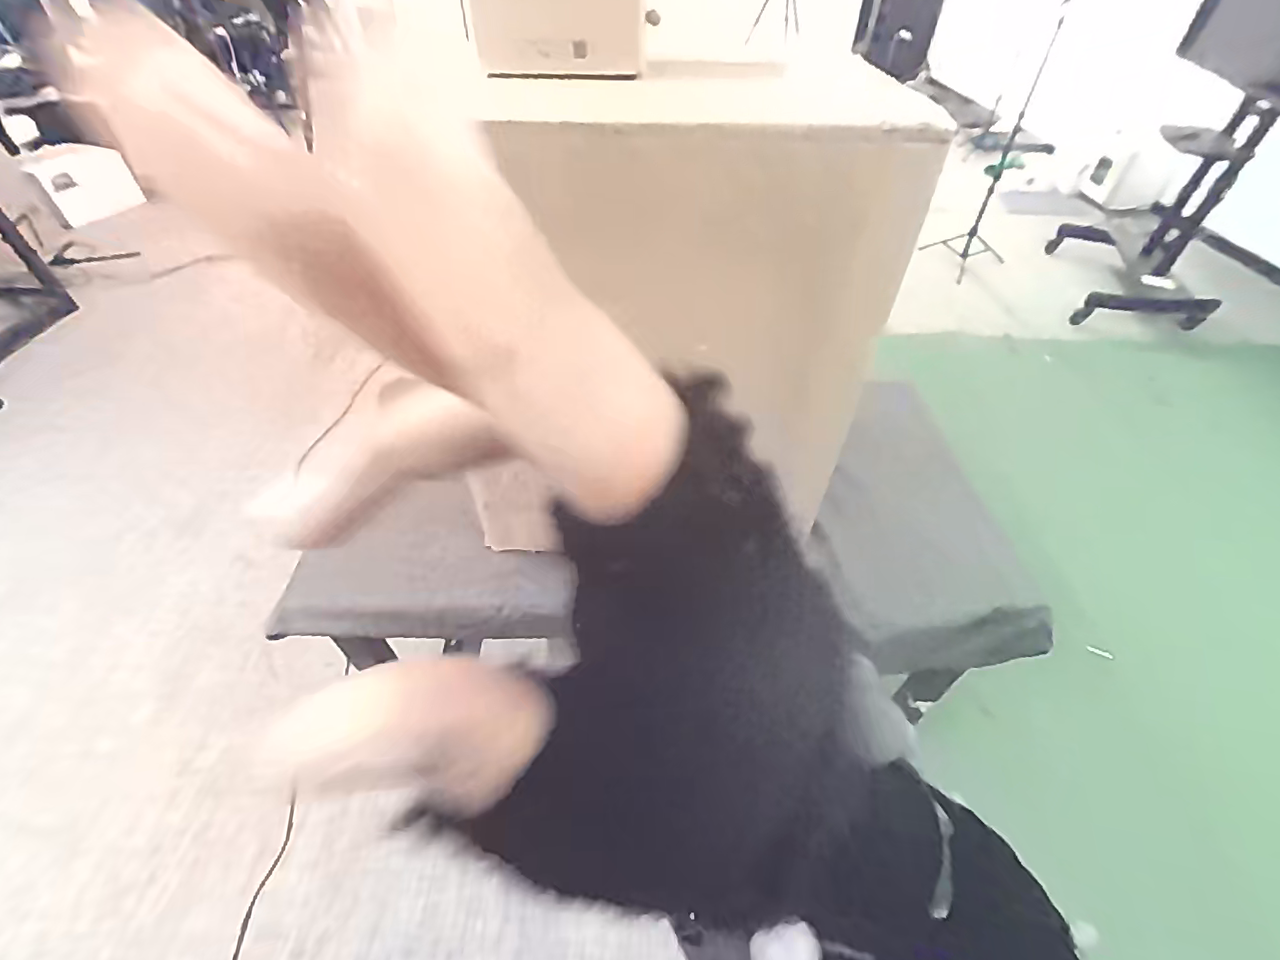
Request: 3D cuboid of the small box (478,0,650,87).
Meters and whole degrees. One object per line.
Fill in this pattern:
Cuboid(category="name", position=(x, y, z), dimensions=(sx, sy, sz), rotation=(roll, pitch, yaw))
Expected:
Cuboid(category="small box", position=(-0.074, -0.524, 0.558), dimensions=(0.168, 0.176, 0.179), rotation=(2, 44, 2))
